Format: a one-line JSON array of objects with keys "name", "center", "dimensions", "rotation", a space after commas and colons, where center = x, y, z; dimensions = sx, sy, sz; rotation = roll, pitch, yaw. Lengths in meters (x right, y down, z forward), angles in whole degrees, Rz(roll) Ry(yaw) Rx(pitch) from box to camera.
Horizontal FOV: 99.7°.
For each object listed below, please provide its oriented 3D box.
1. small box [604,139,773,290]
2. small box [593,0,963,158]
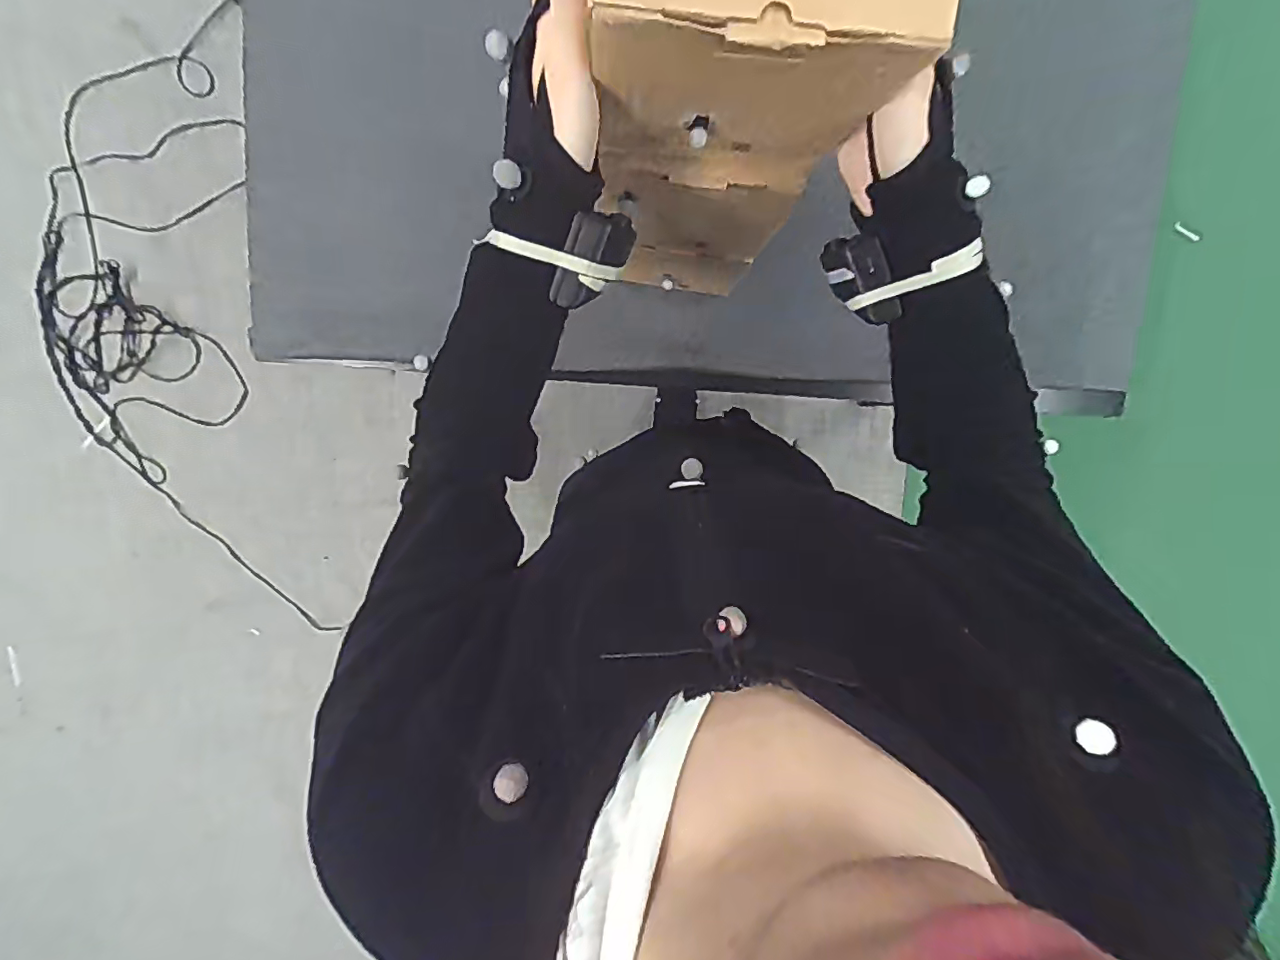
[{"name": "small box", "center": [0.053, -0.339, 0.629], "dimensions": [0.168, 0.176, 0.179], "rotation": [8, 97, -1]}, {"name": "small box", "center": [0.058, -0.307, 0.296], "dimensions": [0.168, 0.176, 0.179], "rotation": [0, 101, -3]}]
